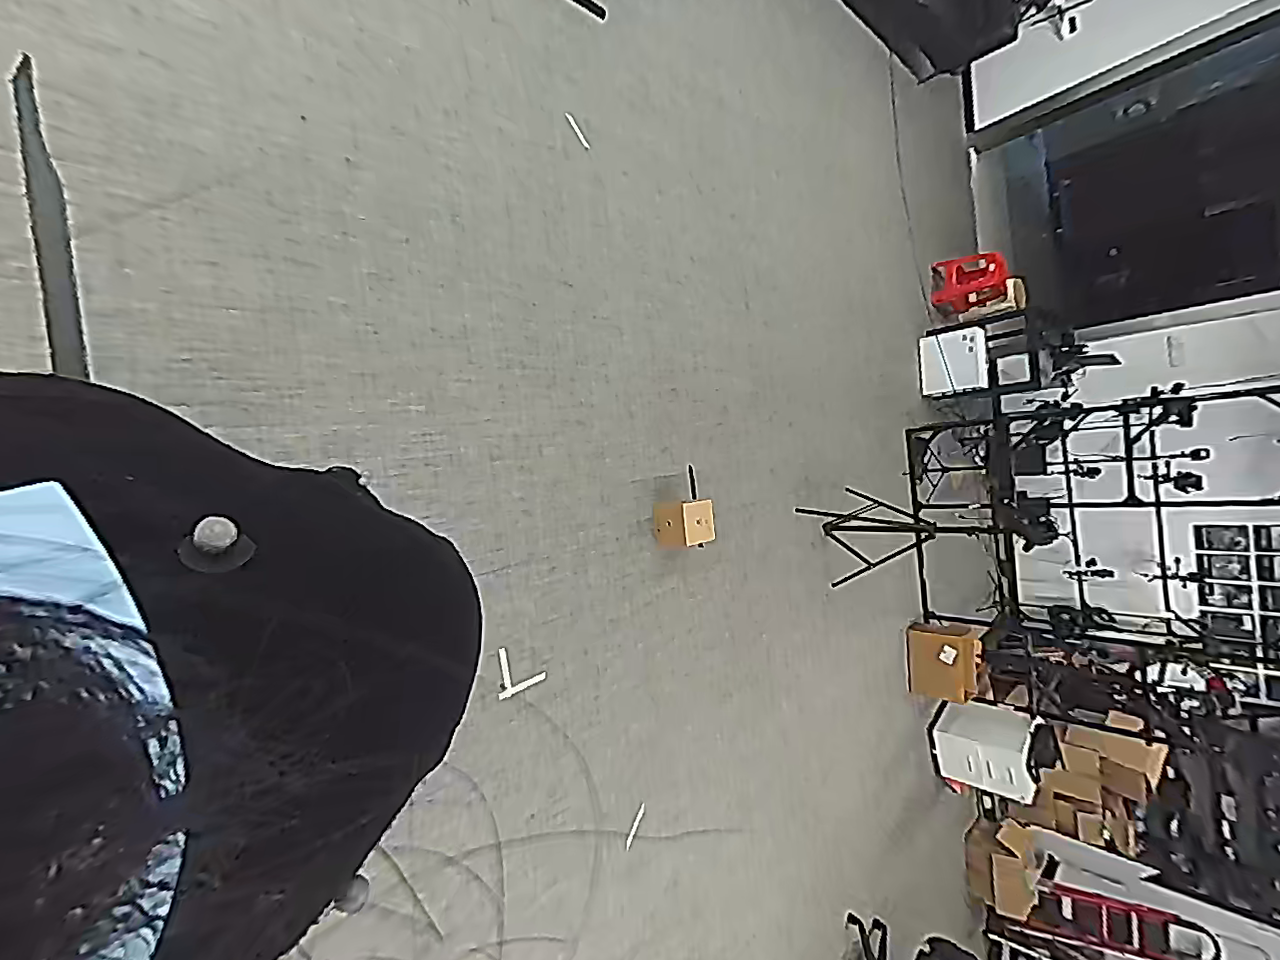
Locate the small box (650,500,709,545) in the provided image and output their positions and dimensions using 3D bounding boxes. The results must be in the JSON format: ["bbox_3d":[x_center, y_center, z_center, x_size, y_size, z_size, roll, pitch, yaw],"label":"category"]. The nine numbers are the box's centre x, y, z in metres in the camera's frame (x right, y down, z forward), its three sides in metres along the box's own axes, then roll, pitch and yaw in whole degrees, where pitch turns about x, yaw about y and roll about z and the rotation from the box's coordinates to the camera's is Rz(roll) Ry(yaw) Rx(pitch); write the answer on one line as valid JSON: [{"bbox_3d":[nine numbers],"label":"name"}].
[{"bbox_3d":[0.152,0.169,2.170,0.179,0.176,0.168,-6,92,-44],"label":"small box"}]
